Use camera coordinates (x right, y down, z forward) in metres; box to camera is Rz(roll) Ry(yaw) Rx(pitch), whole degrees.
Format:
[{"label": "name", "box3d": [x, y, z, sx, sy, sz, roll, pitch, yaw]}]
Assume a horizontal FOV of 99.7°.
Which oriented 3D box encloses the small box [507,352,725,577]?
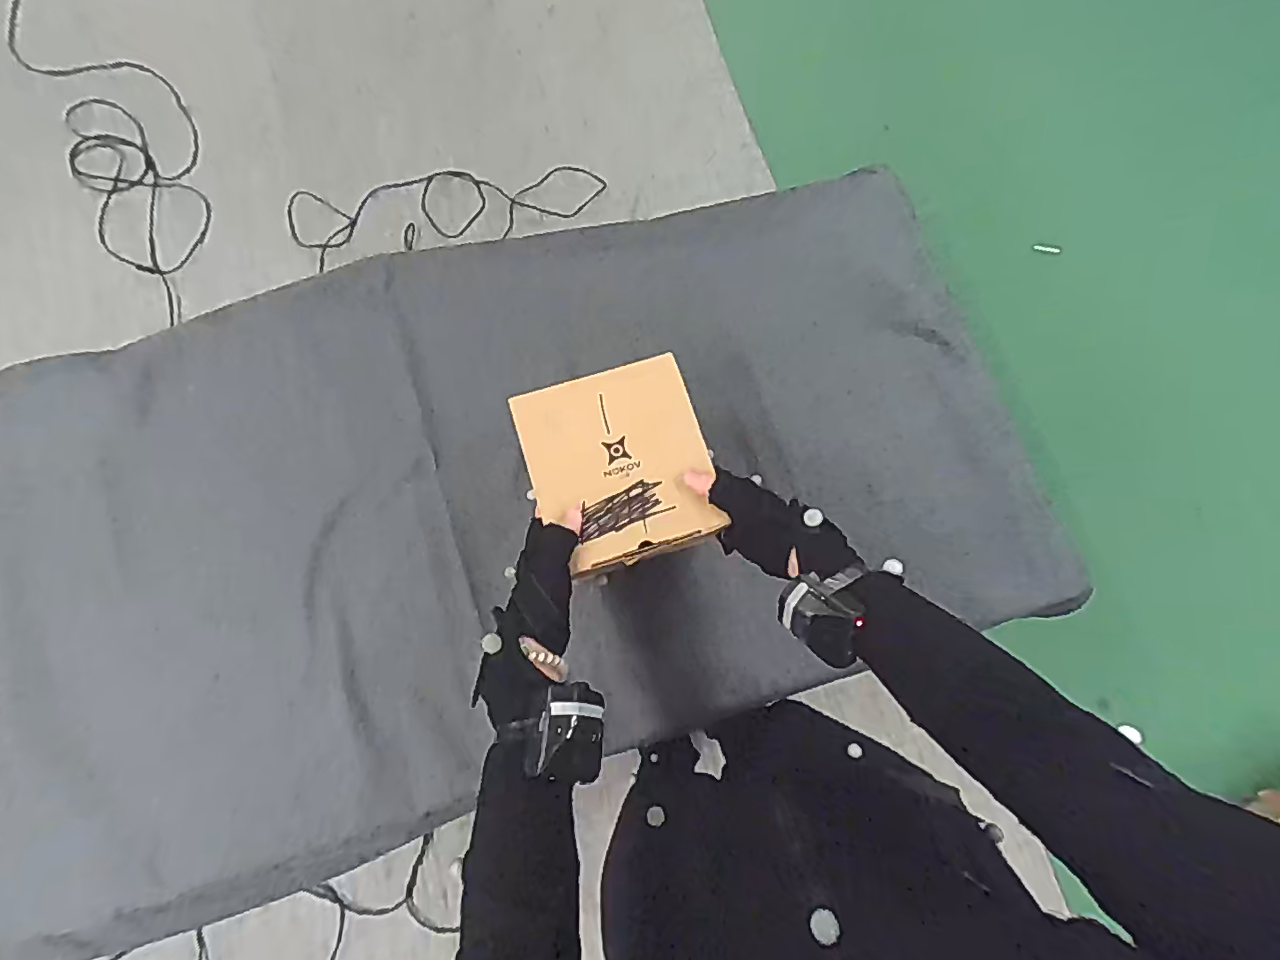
[{"label": "small box", "box3d": [-0.024, -0.004, 0.573, 0.168, 0.176, 0.179, -17, 78, -5]}]
